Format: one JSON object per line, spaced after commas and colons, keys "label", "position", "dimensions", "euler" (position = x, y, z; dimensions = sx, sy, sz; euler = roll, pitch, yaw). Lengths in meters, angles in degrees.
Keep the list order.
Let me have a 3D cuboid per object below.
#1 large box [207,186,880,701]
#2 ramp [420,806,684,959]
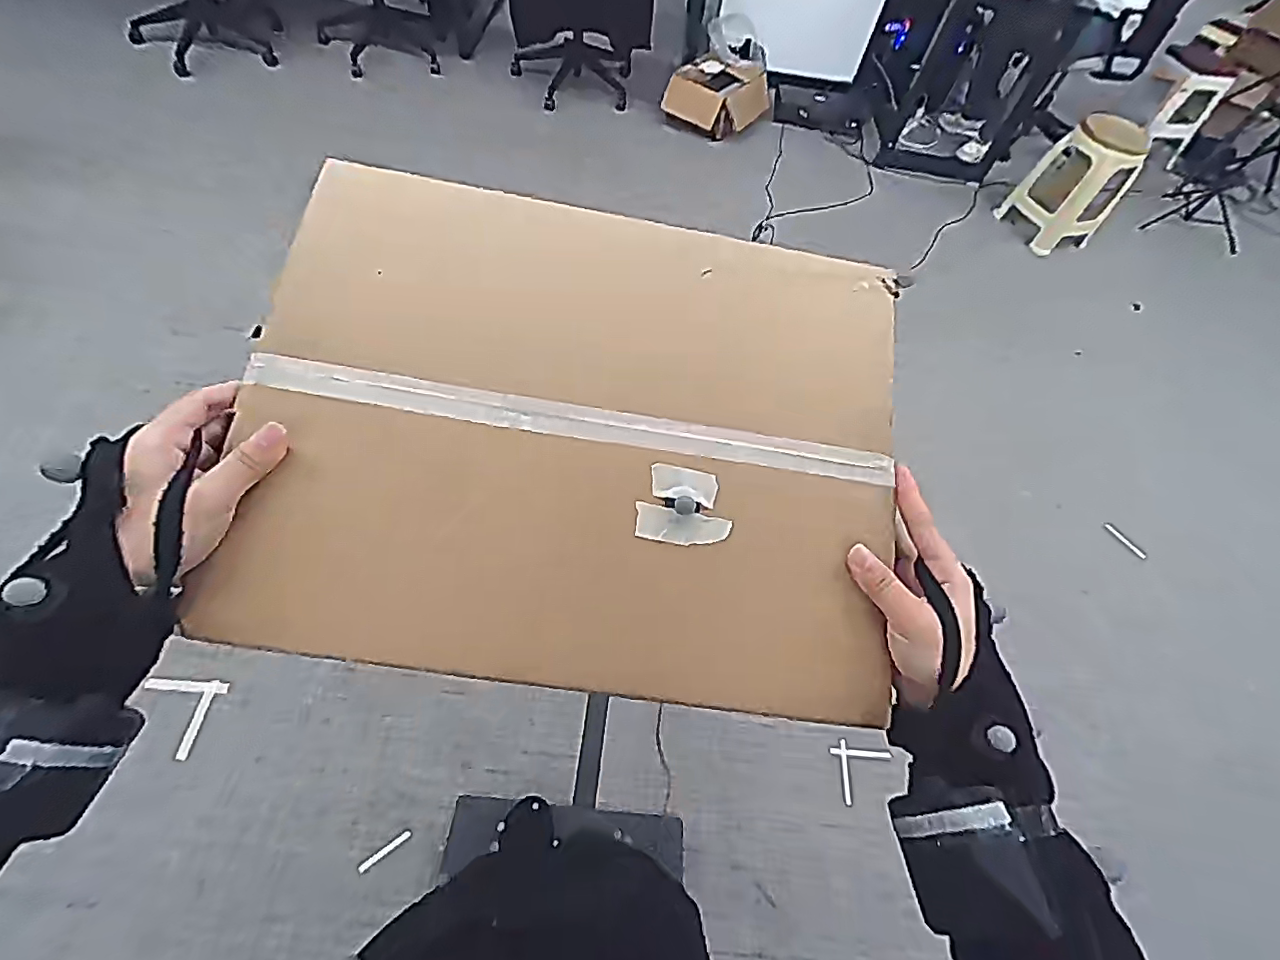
{"label": "large box", "position": [-0.051, 0.001, 0.501], "dimensions": [0.408, 0.320, 0.320], "euler": [9, 76, -4]}
{"label": "ramp", "position": [-0.180, 1.089, 0.828], "dimensions": [0.509, 0.206, 0.991], "euler": [6, 57, -2]}
